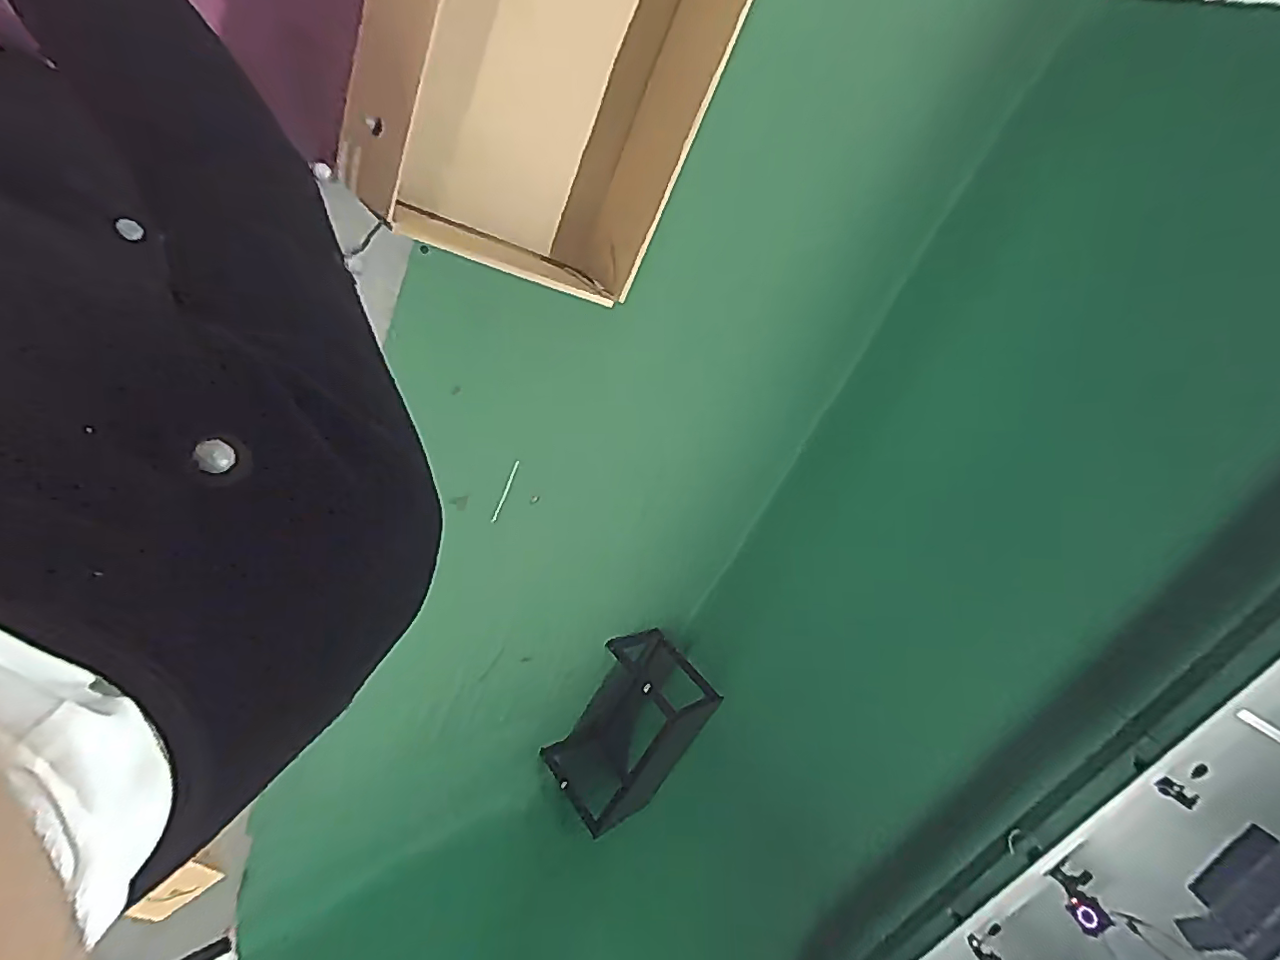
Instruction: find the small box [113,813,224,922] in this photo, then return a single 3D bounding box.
[{"bbox_3d":[-1.294,1.059,1.487,0.168,0.176,0.179,-30,142,-28],"label":"small box"}]
